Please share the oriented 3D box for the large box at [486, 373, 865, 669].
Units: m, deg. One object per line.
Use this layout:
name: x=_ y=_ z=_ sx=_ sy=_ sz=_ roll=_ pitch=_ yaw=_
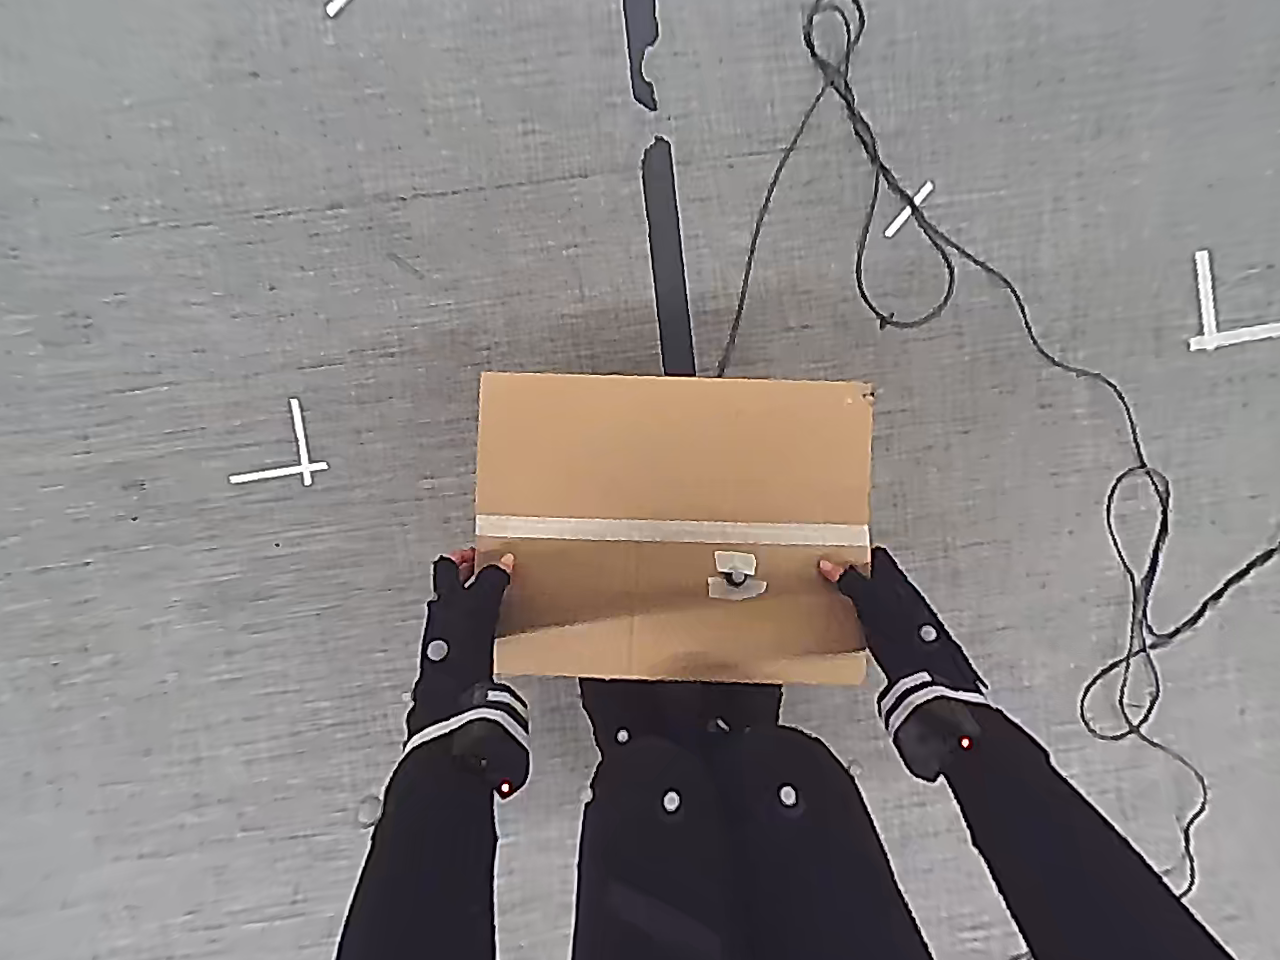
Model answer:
large box: x=0.036 y=0.046 z=0.715 sx=0.408 sy=0.320 sz=0.320 roll=1 pitch=90 yaw=1
